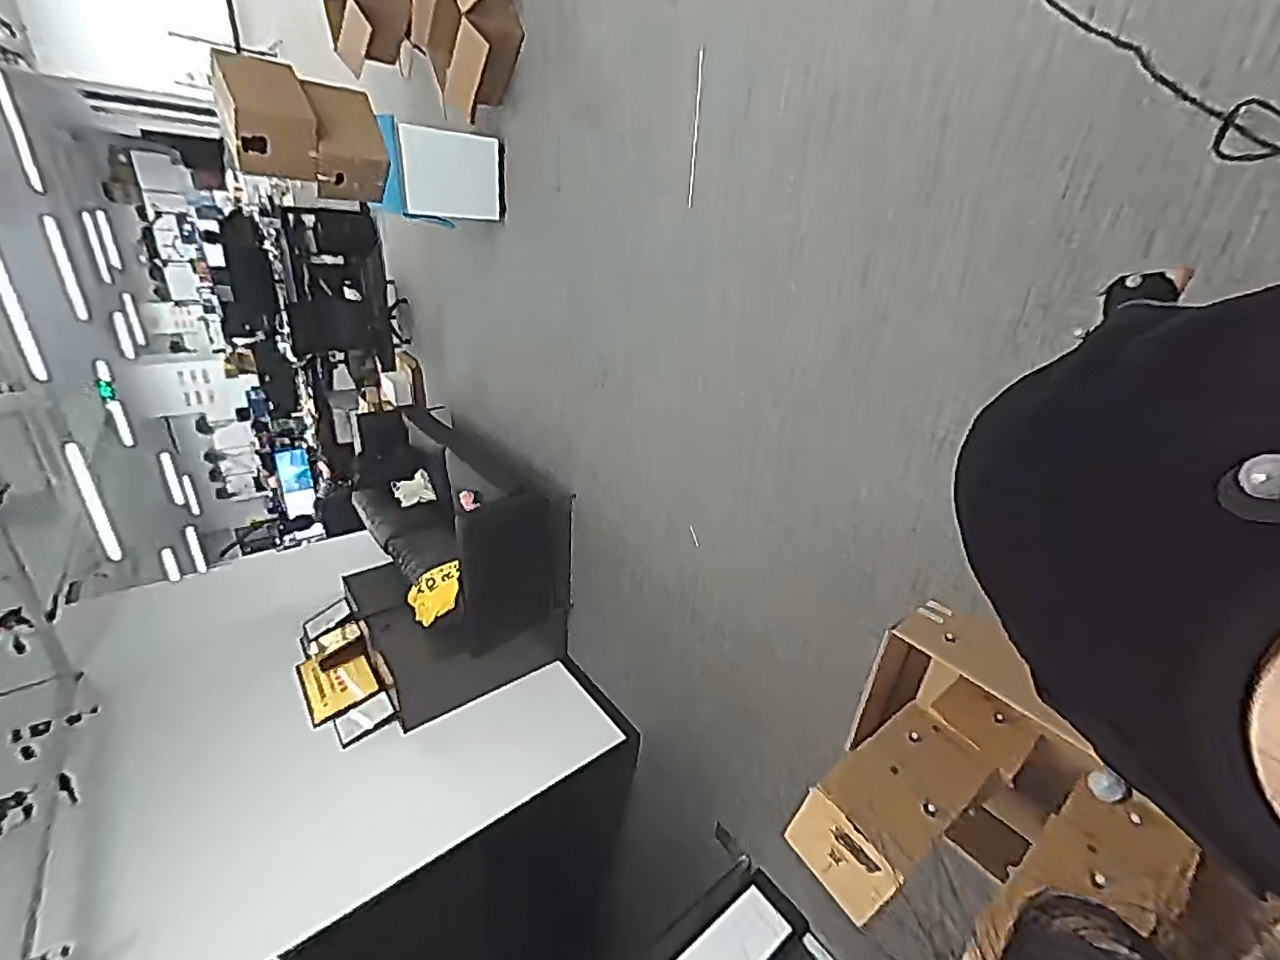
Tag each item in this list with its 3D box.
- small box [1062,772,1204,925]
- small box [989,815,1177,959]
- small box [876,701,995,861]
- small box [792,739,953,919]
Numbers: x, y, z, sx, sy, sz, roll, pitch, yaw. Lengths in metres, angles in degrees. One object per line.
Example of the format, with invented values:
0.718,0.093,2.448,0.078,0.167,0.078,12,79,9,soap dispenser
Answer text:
0.826,0.660,0.938,0.168,0.176,0.179,28,124,46,small box
0.691,0.678,0.845,0.168,0.176,0.179,30,125,47,small box
0.534,0.560,1.025,0.168,0.176,0.179,39,132,41,small box
0.401,0.590,0.933,0.168,0.176,0.179,43,135,39,small box
